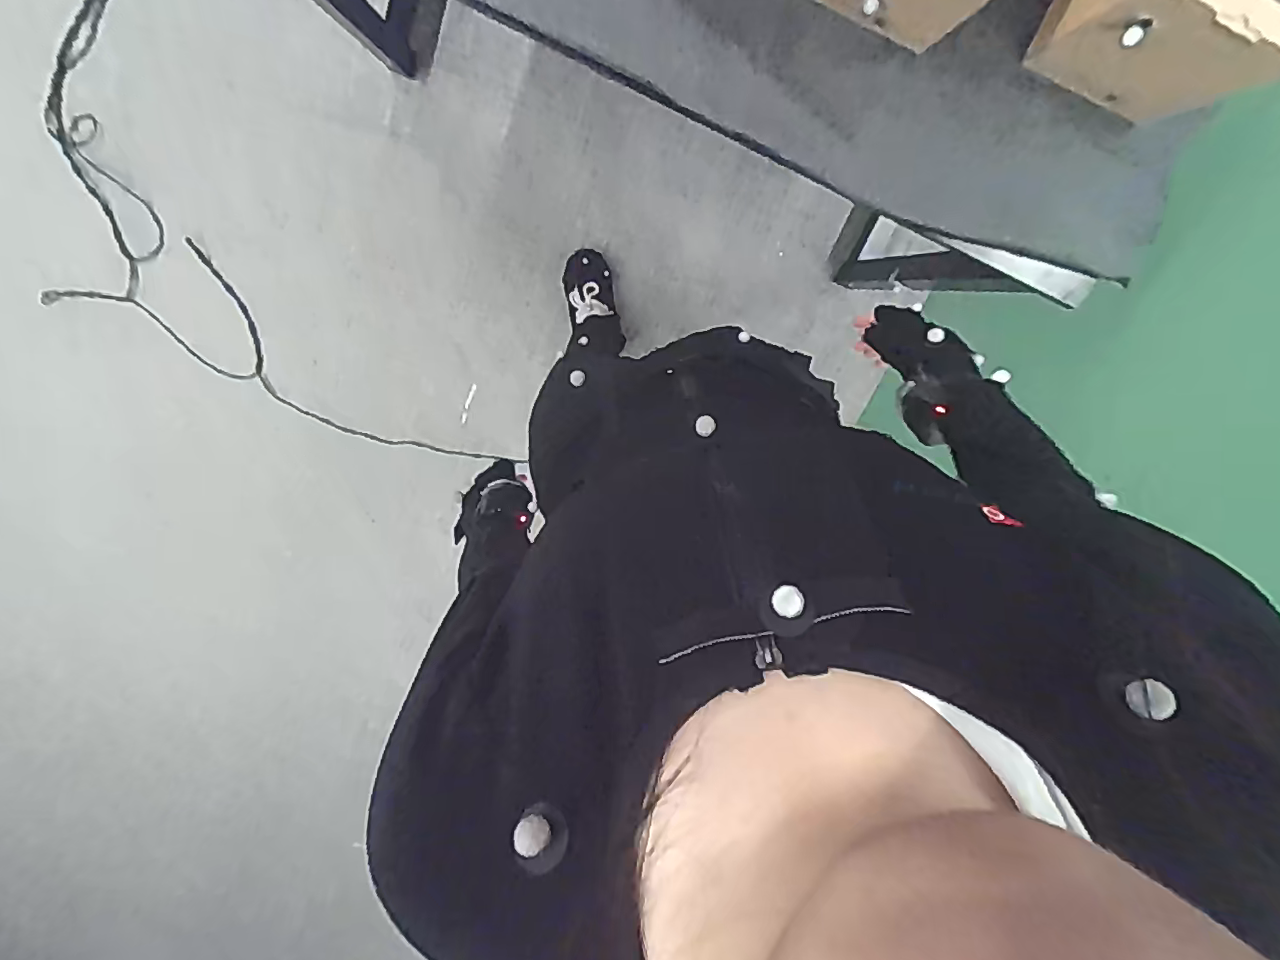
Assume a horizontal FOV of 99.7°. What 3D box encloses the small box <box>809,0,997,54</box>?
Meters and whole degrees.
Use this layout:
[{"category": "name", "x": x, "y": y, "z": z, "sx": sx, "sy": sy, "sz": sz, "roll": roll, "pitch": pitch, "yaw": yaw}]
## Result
[{"category": "small box", "x": 0.263, "y": -0.532, "z": 0.473, "sx": 0.168, "sy": 0.176, "sz": 0.179, "roll": 20, "pitch": 108, "yaw": -8}]
